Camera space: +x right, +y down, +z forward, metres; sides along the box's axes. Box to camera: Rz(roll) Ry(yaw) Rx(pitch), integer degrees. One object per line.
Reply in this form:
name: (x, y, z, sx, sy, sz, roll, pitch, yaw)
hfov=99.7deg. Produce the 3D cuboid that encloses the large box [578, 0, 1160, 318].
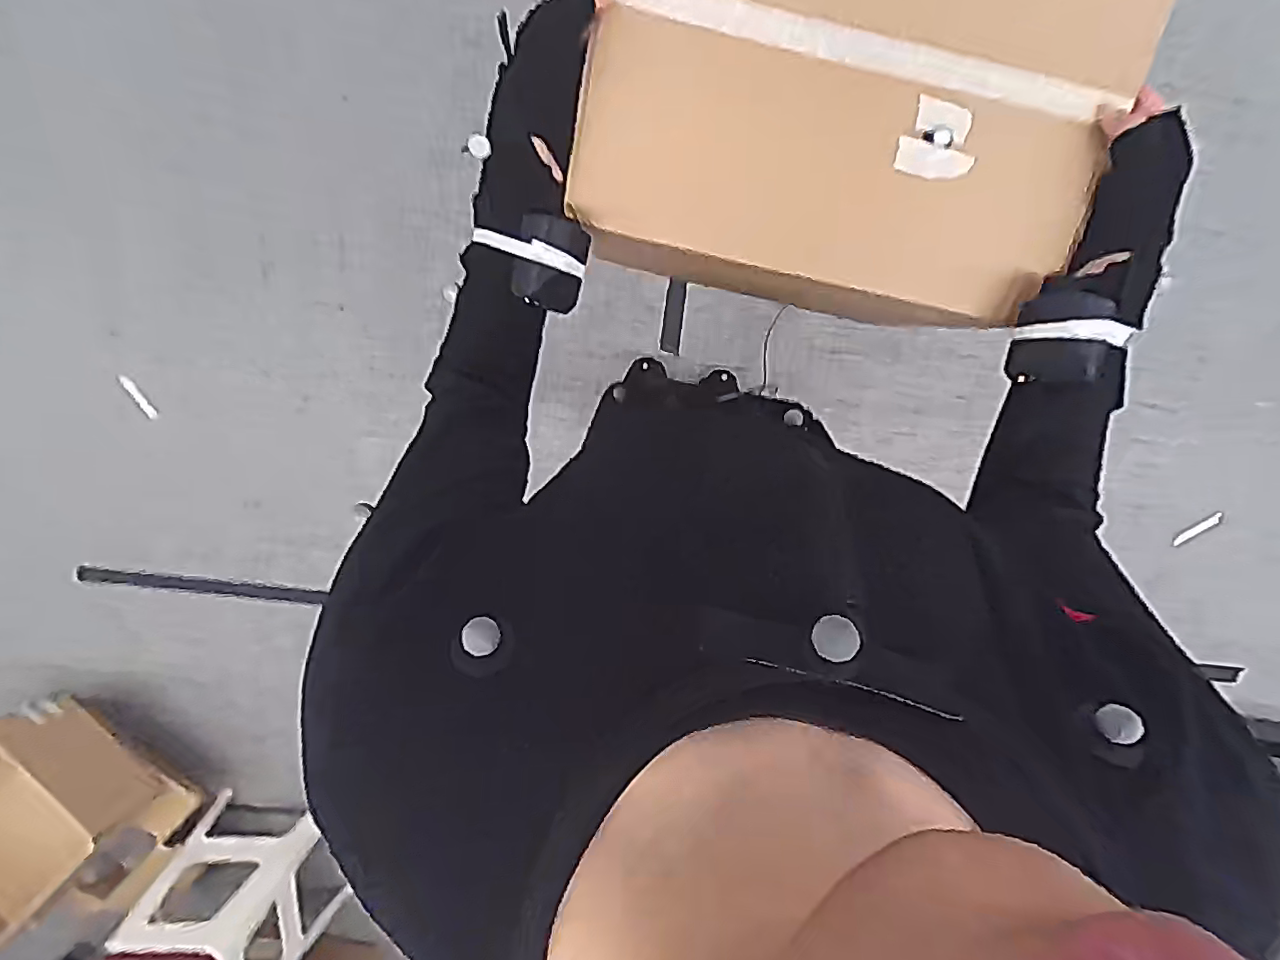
large box: (0.169, -0.362, 0.550, 0.408, 0.320, 0.320, 12, 107, -5)
